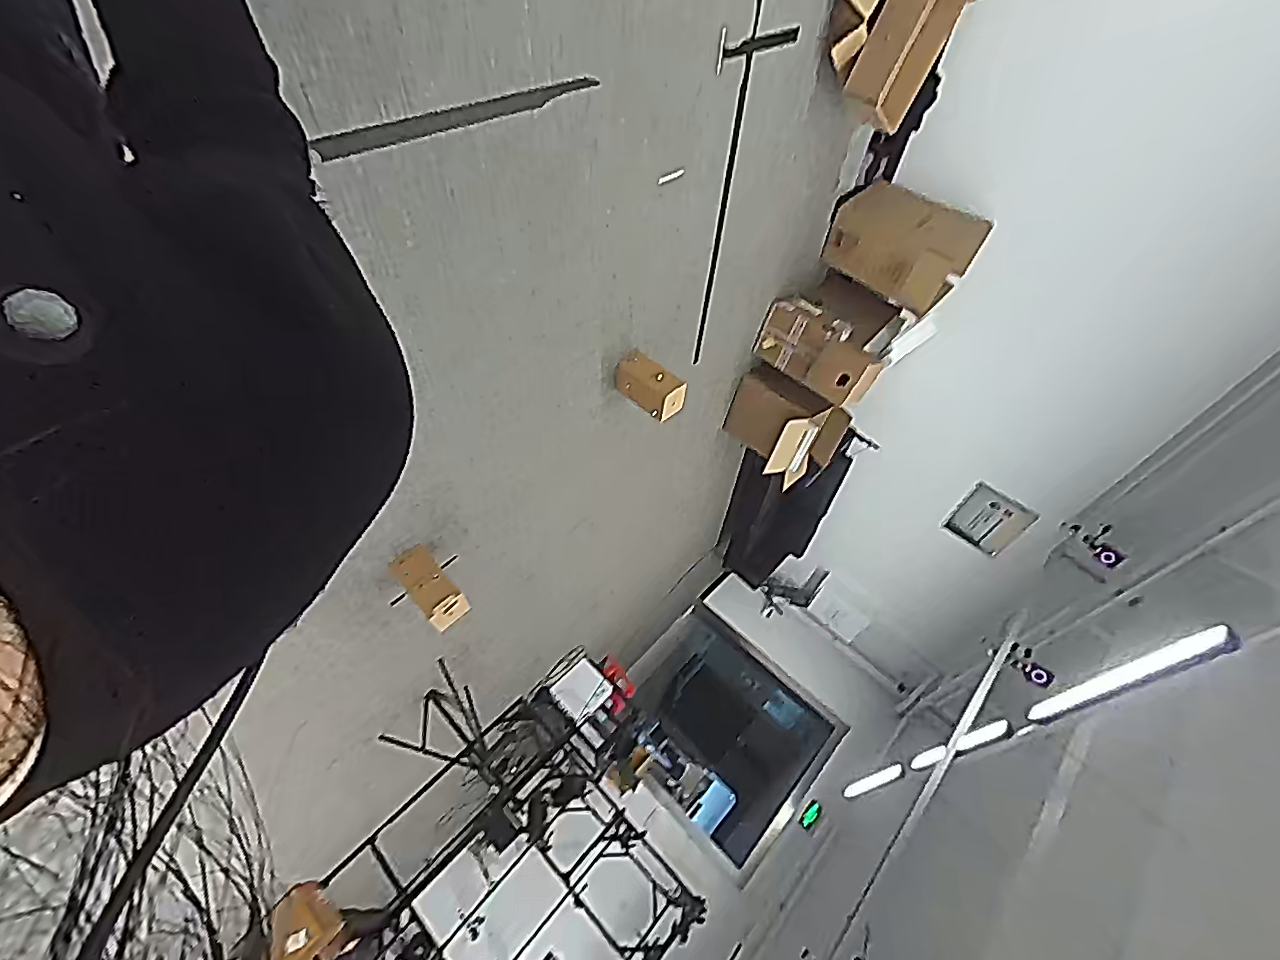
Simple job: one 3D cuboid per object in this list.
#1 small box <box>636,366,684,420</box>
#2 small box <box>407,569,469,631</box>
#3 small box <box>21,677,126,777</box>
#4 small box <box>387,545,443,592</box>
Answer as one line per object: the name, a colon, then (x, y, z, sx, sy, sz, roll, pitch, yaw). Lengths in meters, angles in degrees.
small box: (0.097, -0.444, 2.738, 0.168, 0.176, 0.179, -37, 152, -32)
small box: (-0.876, 0.512, 2.338, 0.168, 0.176, 0.179, -40, 155, -25)
small box: (-1.665, 0.716, 1.586, 0.179, 0.176, 0.168, -58, 156, 14)
small box: (-0.991, 0.415, 2.405, 0.168, 0.176, 0.179, -40, 156, -24)
